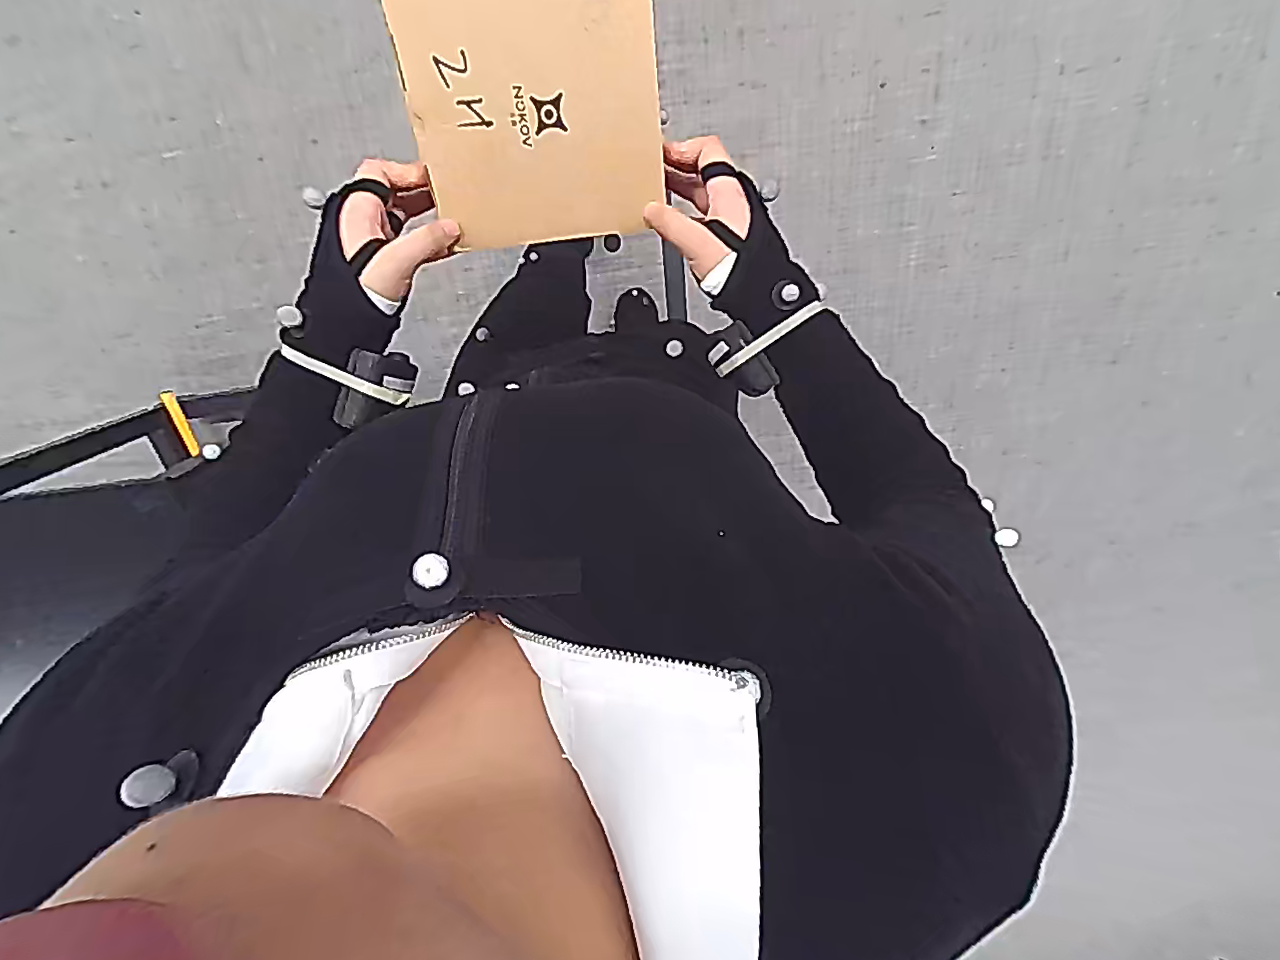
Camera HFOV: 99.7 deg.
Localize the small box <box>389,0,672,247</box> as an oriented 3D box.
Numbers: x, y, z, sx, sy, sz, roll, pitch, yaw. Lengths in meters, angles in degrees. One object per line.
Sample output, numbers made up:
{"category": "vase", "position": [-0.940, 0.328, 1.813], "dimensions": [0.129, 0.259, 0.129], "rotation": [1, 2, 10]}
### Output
{"category": "small box", "position": [-0.074, -0.298, 0.448], "dimensions": [0.179, 0.176, 0.168], "rotation": [-6, 120, 0]}
